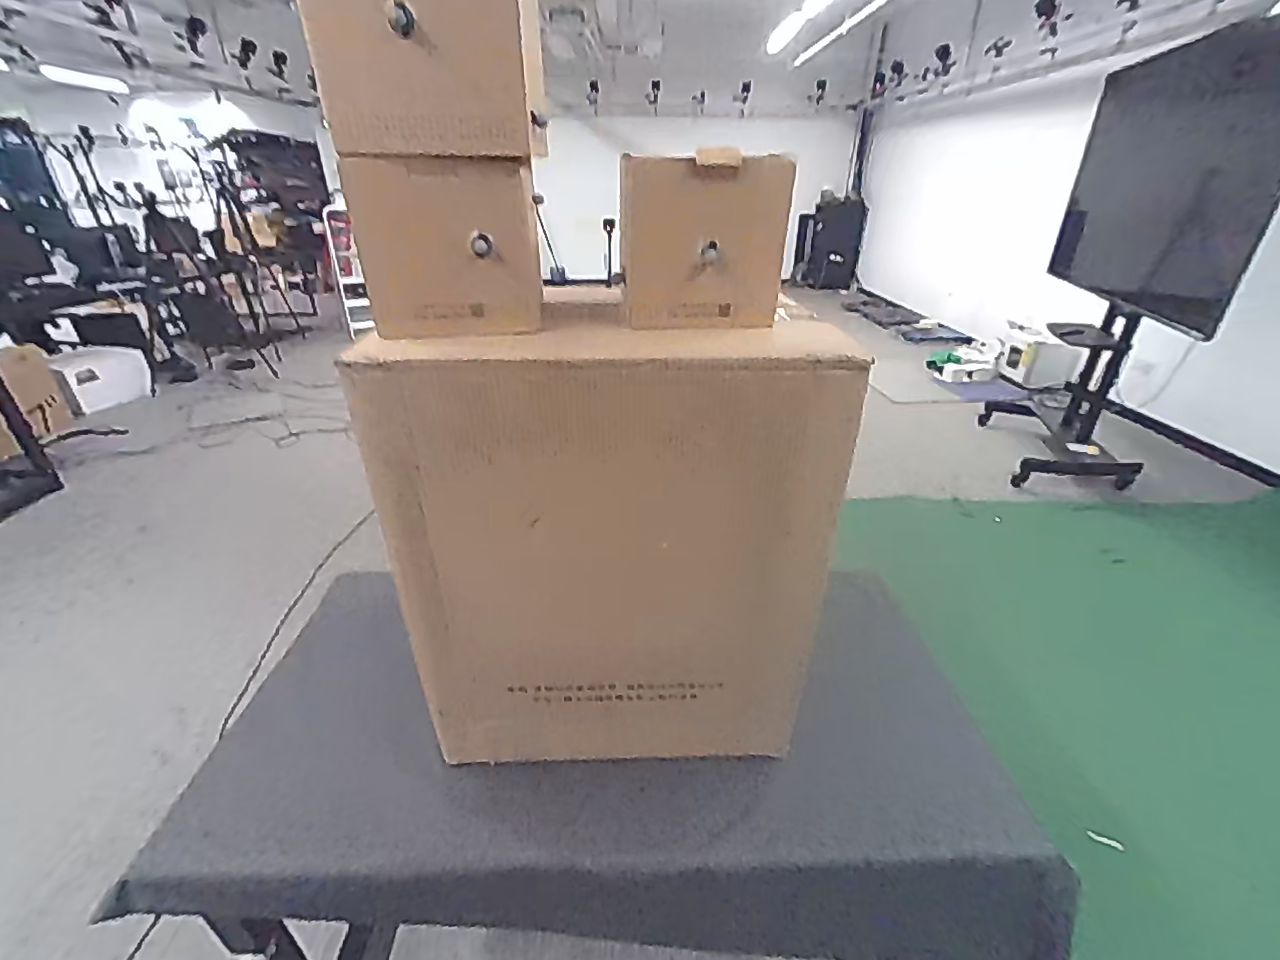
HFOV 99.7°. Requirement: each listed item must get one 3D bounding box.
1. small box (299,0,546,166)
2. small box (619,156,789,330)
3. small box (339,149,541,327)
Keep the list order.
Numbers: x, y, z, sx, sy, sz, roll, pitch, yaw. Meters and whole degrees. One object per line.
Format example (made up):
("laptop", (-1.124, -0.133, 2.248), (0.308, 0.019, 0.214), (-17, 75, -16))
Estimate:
("small box", (-0.189, -0.396, 0.519), (0.179, 0.176, 0.168), (-2, 31, -2))
("small box", (0.063, -0.280, 0.639), (0.168, 0.176, 0.179), (-2, 32, -5))
("small box", (-0.202, -0.274, 0.602), (0.168, 0.176, 0.179), (-6, 32, -9))
